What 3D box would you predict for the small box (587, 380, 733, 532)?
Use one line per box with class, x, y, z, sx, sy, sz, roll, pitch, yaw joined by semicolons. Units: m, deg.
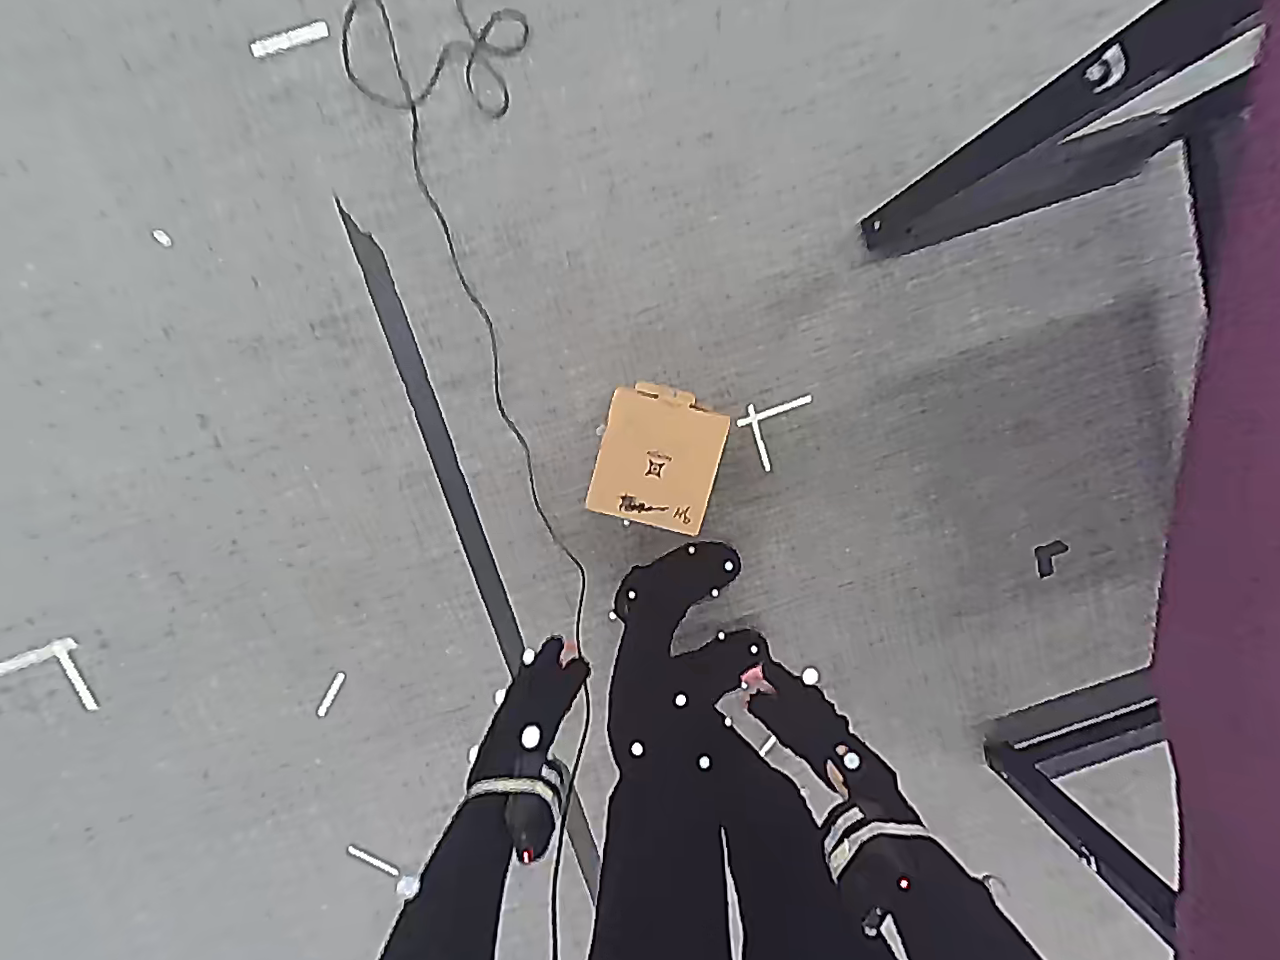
small box;0.023;-0.041;0.812;0.168;0.176;0.179;15;97;-4
